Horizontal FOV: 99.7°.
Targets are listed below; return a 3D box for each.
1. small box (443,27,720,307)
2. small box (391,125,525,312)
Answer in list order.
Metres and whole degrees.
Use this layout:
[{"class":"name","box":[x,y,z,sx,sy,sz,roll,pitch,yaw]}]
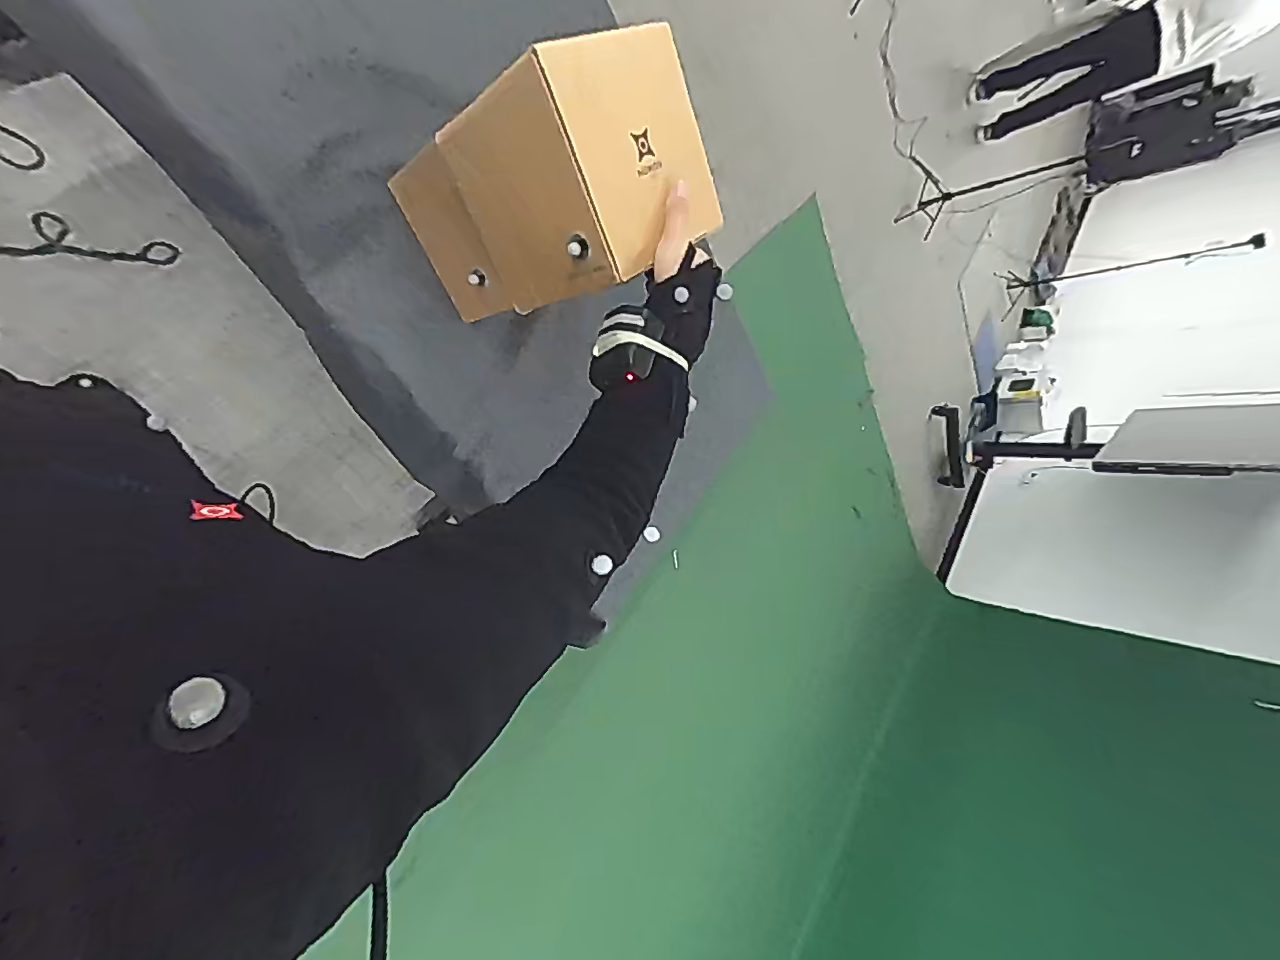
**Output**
[{"class":"small box","box":[-0.055,-0.288,0.523,0.168,0.176,0.179,-43,123,-34]},{"class":"small box","box":[-0.157,-0.315,0.648,0.168,0.176,0.179,-44,122,-33]}]
